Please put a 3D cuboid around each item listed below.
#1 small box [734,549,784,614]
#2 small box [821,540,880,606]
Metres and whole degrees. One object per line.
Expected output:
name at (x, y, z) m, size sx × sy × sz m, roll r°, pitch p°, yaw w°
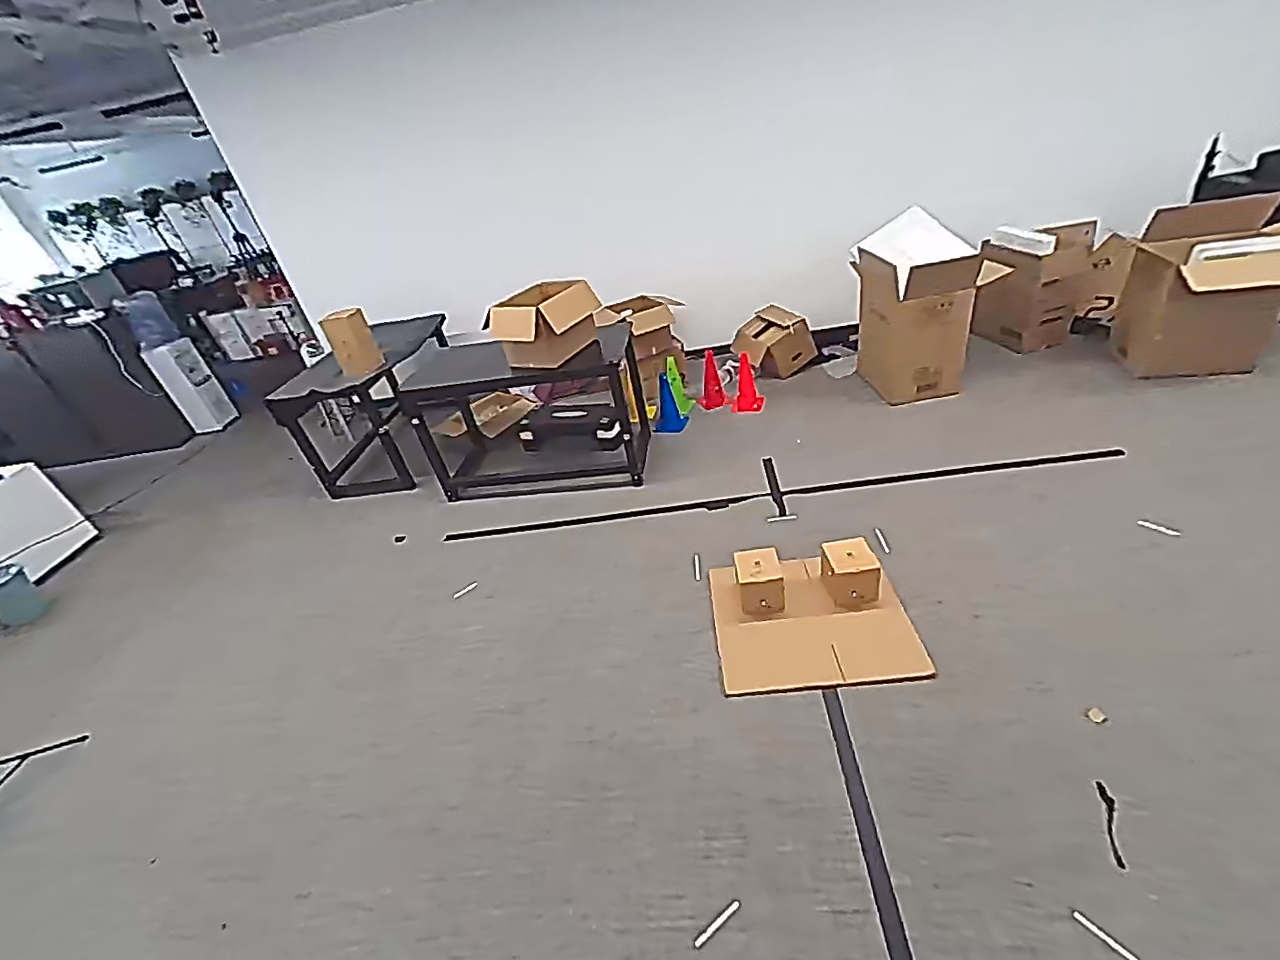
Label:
small box at (0.466, 0.400, 2.125) m, size 0.168 × 0.176 × 0.179 m, roll -9°, pitch 34°, yaw 6°
small box at (0.806, 0.358, 2.088) m, size 0.168 × 0.176 × 0.179 m, roll -10°, pitch 34°, yaw 3°
